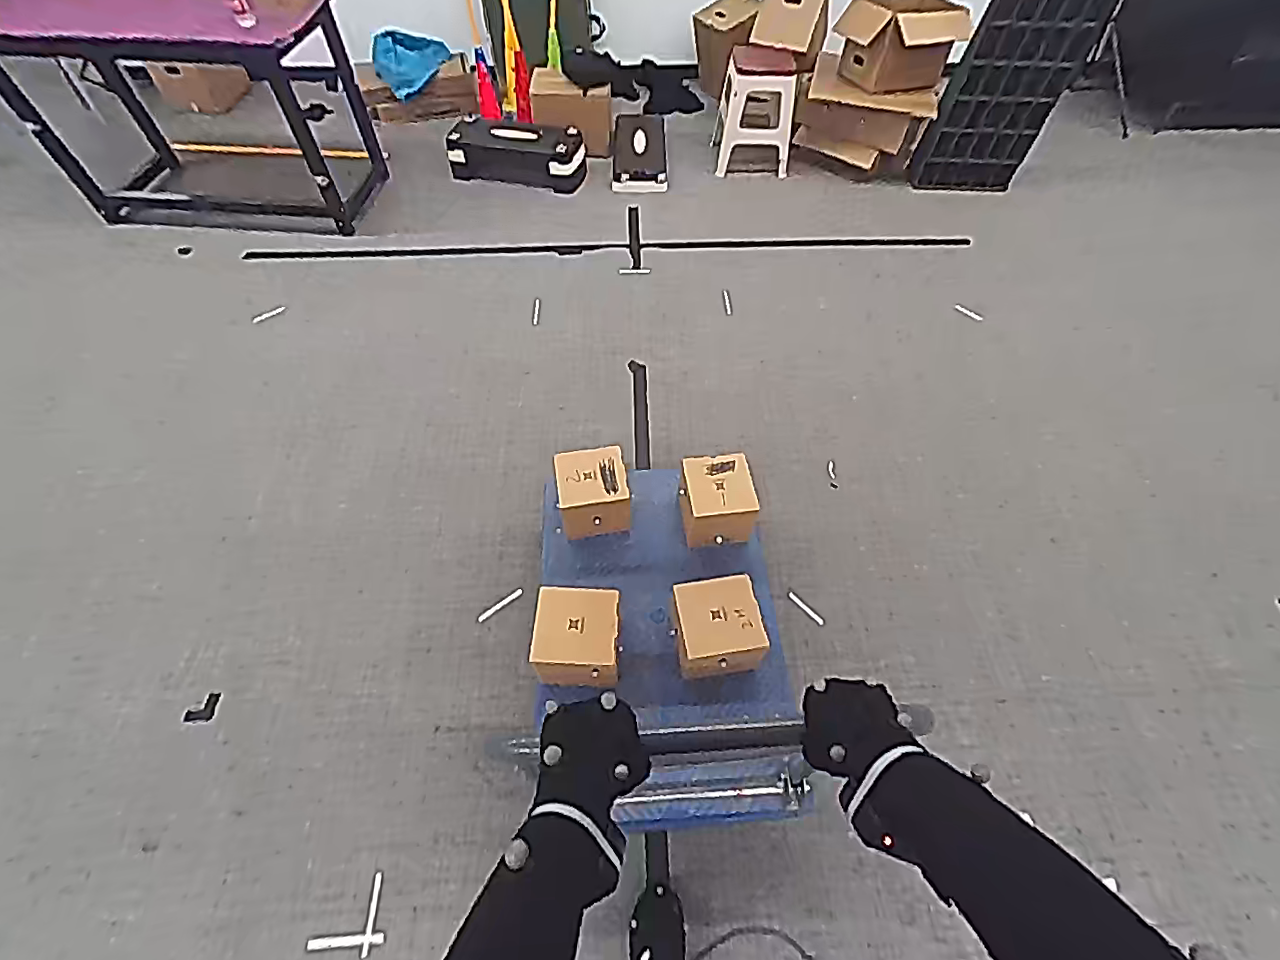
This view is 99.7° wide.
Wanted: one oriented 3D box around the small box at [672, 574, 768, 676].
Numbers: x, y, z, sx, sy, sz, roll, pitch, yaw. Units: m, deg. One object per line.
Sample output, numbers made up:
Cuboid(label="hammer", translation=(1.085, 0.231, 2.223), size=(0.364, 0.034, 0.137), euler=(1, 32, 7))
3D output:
Cuboid(label="small box", translation=(0.171, 0.334, 1.228), size=(0.179, 0.176, 0.168), euler=(-7, 56, -5))

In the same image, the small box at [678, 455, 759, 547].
Cuboid(label="small box", translation=(0.198, 0.056, 1.419), size=(0.168, 0.176, 0.179), euler=(-6, 57, -4))

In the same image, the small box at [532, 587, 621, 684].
Cuboid(label="small box", translation=(-0.134, 0.352, 1.214), size=(0.179, 0.176, 0.168), euler=(3, 55, -1))
